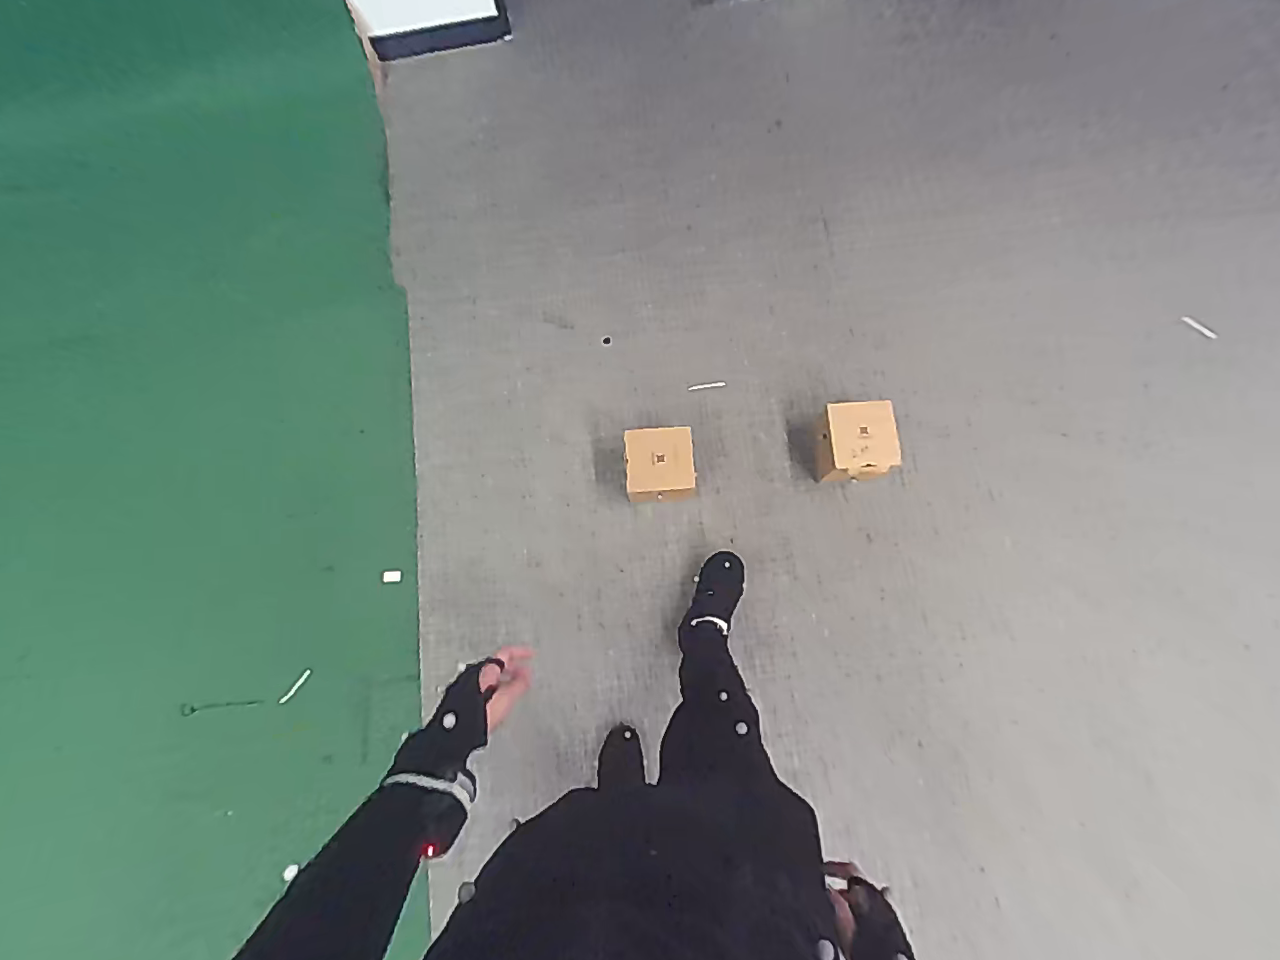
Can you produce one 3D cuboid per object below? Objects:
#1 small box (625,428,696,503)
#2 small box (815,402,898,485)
[{"bbox_3d":[0.057,-0.034,1.445,0.179,0.176,0.168,-3,77,2],"label":"small box"},{"bbox_3d":[0.564,-0.093,1.426,0.168,0.176,0.179,3,78,6],"label":"small box"}]
